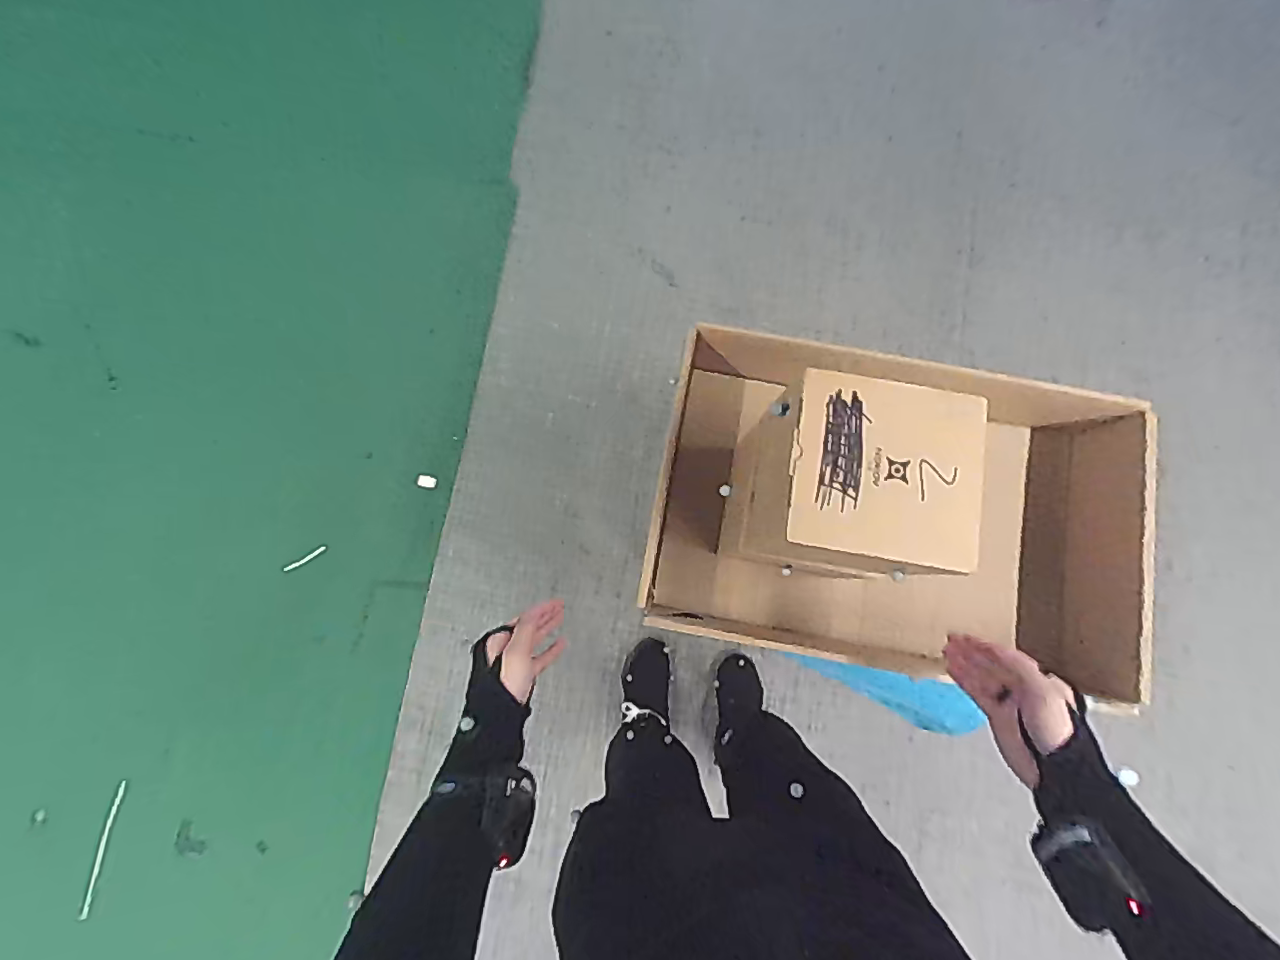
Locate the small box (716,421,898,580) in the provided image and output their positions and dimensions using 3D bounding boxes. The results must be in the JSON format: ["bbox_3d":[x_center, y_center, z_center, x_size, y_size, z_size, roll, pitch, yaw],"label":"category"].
[{"bbox_3d":[0.213,0.035,0.727,0.179,0.176,0.168,11,80,0],"label":"small box"}]
